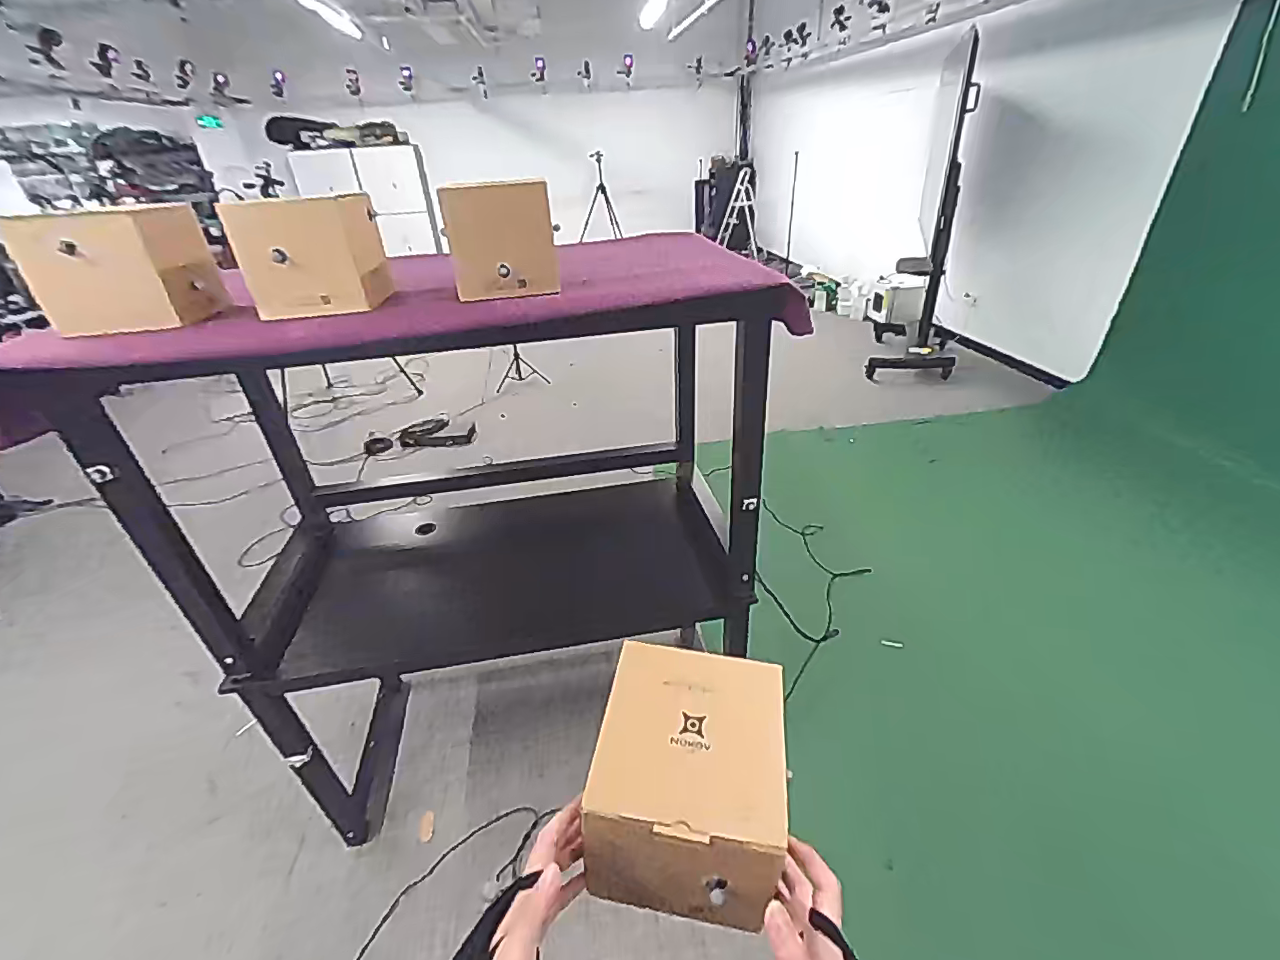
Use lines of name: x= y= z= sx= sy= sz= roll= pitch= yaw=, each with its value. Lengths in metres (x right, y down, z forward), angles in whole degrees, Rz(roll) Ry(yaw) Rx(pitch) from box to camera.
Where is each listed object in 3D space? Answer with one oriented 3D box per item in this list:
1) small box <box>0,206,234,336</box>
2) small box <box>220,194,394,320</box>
small box: x=-0.801 y=-0.331 z=0.853 sx=0.179 sy=0.176 sz=0.168 roll=-7 pitch=31 yaw=-7
small box: x=-0.521 y=-0.362 z=0.881 sx=0.168 sy=0.176 sz=0.179 roll=-7 pitch=30 yaw=-6
